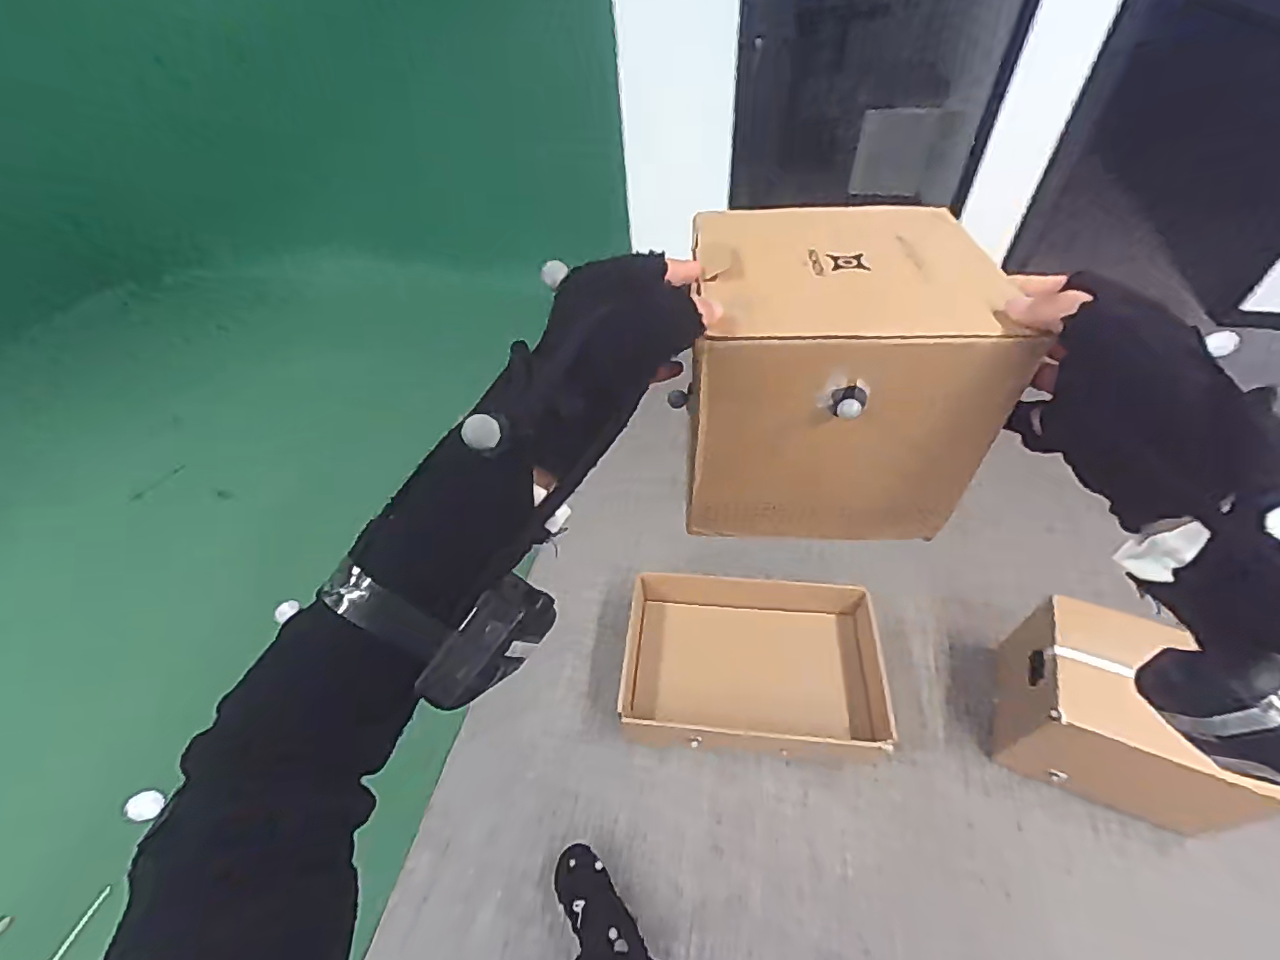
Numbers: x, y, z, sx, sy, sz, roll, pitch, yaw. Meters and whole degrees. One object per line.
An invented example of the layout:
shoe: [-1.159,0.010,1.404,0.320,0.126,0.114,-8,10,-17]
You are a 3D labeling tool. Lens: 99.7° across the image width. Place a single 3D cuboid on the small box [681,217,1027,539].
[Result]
small box: [0.118,-0.071,0.390,0.179,0.176,0.168,1,47,2]
